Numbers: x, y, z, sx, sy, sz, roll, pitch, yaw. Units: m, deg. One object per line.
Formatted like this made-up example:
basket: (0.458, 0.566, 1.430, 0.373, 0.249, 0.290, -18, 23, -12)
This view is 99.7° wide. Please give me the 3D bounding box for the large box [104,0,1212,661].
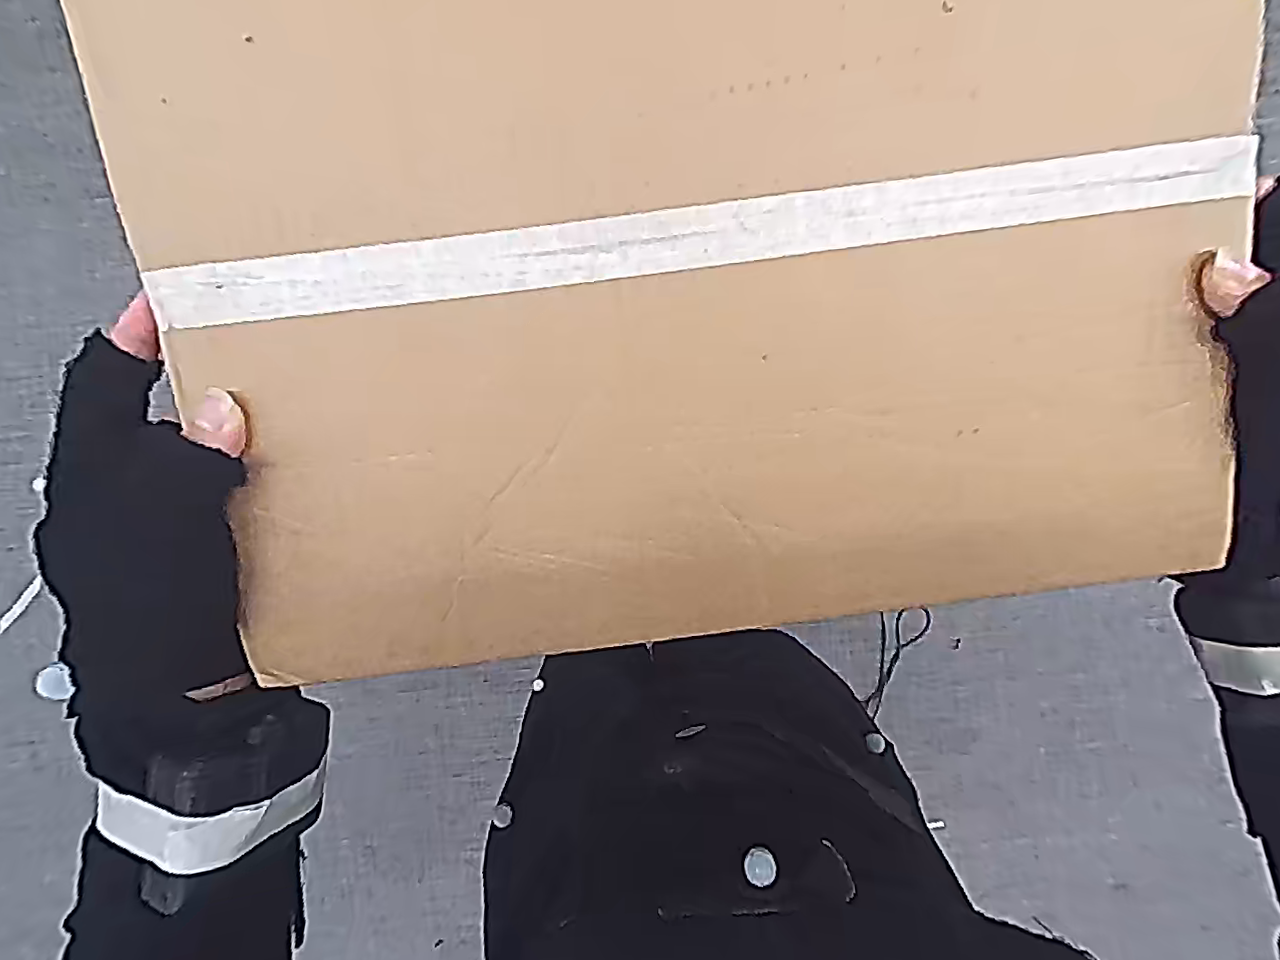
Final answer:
large box: (0.017, -0.122, 0.358, 0.408, 0.320, 0.320, -7, 100, -1)
